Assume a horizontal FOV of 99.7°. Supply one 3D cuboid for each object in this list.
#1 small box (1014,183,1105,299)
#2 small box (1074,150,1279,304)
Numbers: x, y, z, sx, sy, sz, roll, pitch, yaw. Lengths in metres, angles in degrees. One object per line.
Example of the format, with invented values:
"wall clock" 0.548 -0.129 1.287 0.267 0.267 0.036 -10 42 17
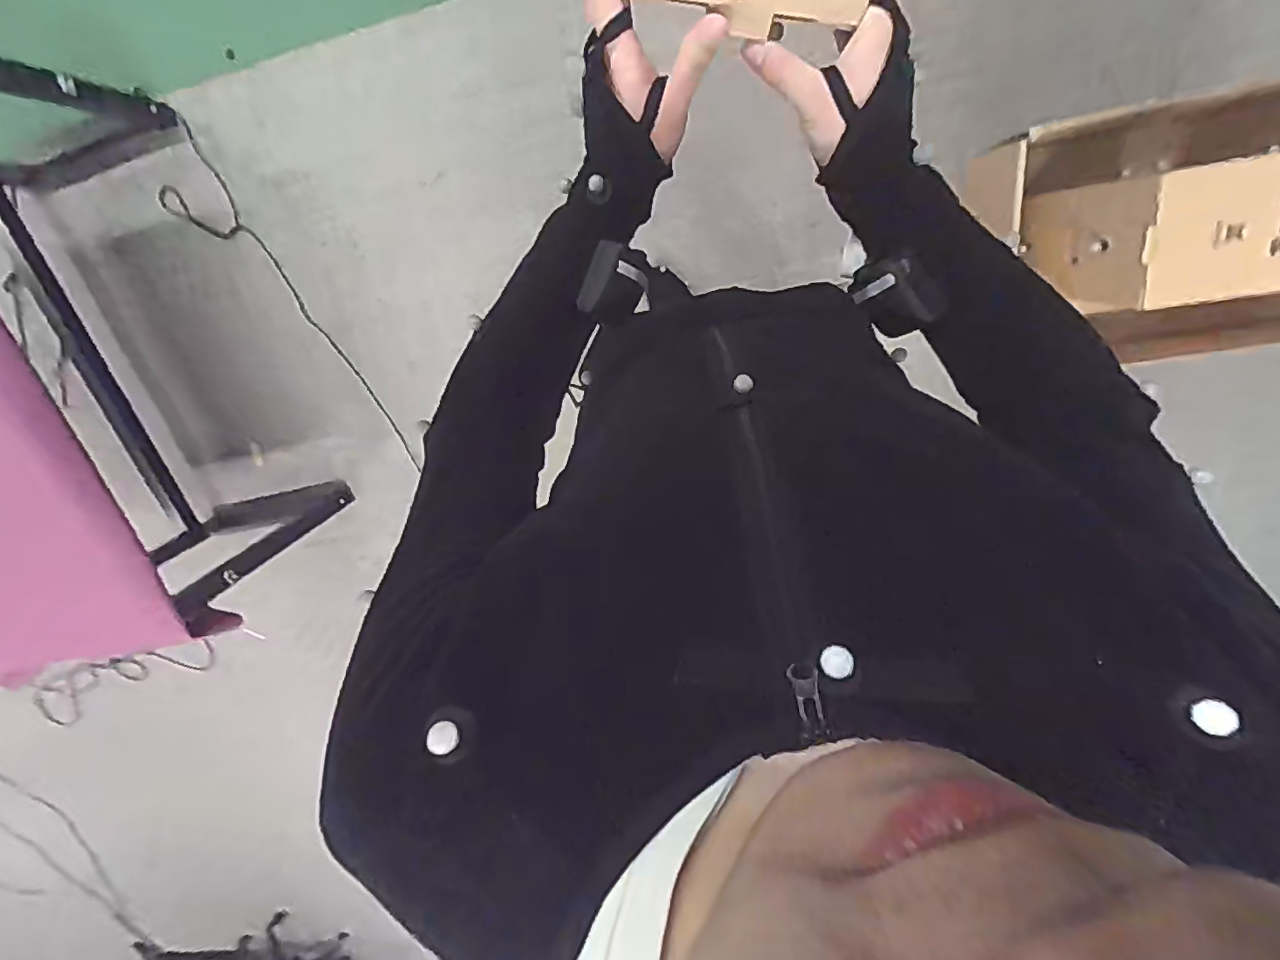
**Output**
"small box" 0.768 -0.403 0.900 0.179 0.176 0.168 -6 110 8
"small box" 0.751 -0.343 0.749 0.179 0.176 0.168 -6 112 9
